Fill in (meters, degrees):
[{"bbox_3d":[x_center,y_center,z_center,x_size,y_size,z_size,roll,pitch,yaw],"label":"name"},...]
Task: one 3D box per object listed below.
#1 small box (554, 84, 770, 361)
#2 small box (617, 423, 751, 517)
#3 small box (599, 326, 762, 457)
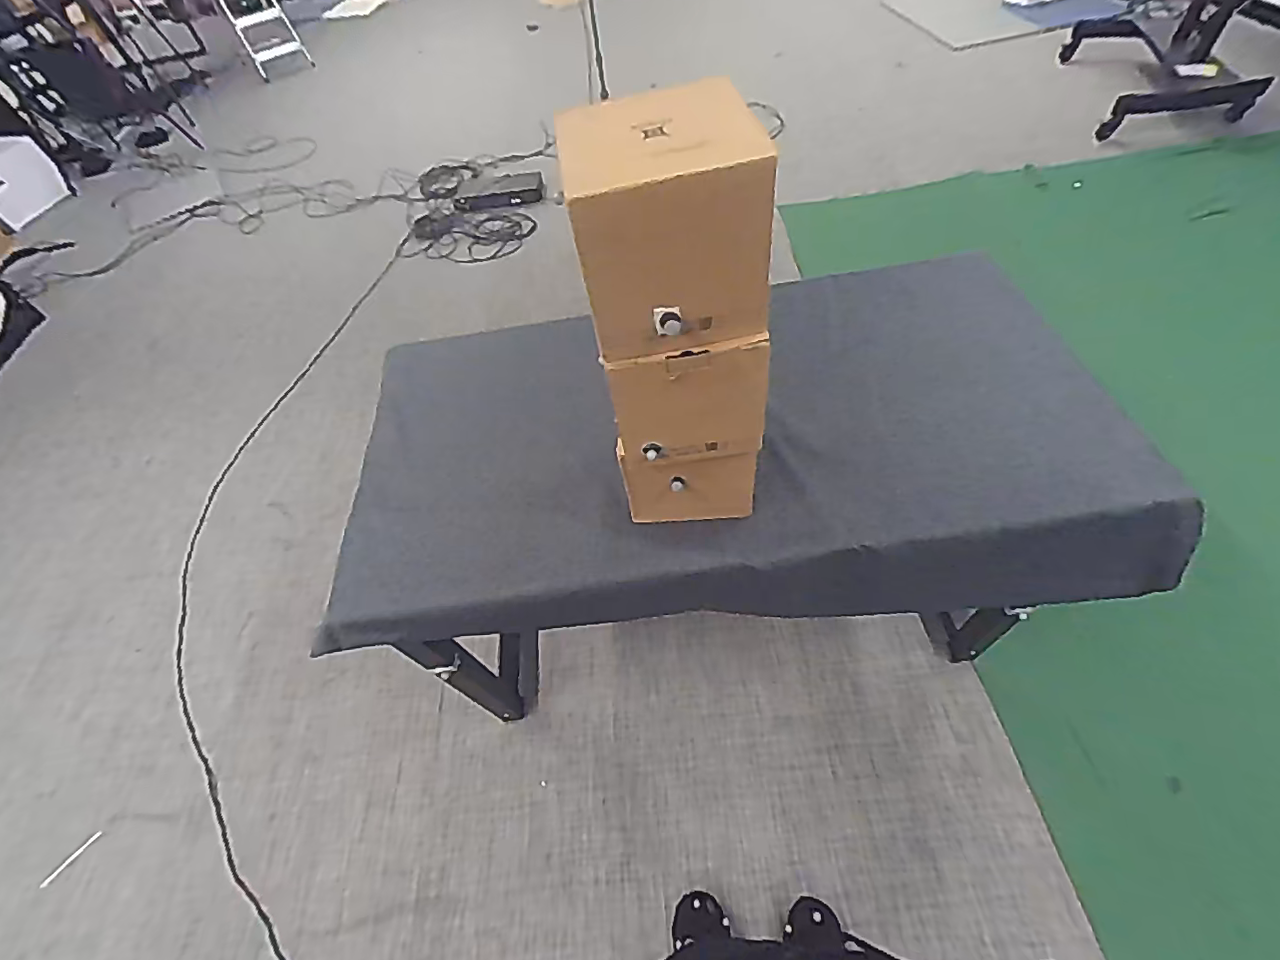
[{"bbox_3d":[0.019,-0.246,0.529,0.168,0.176,0.179,-12,54,1],"label":"small box"},{"bbox_3d":[0.065,-0.059,0.795,0.179,0.176,0.168,-6,52,4],"label":"small box"},{"bbox_3d":[0.044,-0.144,0.653,0.168,0.176,0.179,-11,55,1],"label":"small box"}]
